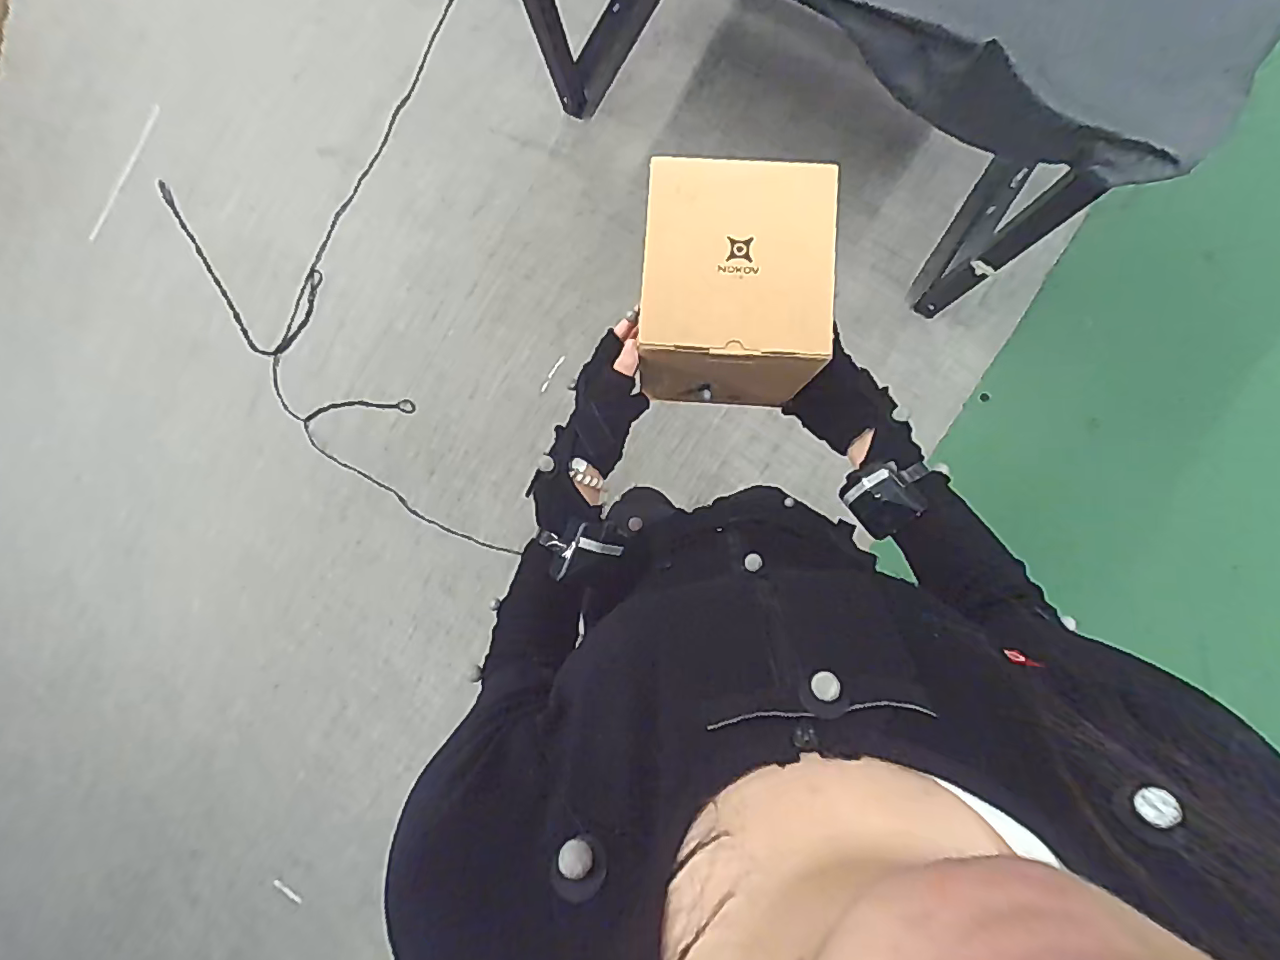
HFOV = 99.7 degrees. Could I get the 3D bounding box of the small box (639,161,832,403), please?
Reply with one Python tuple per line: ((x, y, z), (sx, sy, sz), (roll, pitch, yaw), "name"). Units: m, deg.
((0.086, -0.189, 0.558), (0.168, 0.176, 0.179), (4, 85, 1), "small box")
